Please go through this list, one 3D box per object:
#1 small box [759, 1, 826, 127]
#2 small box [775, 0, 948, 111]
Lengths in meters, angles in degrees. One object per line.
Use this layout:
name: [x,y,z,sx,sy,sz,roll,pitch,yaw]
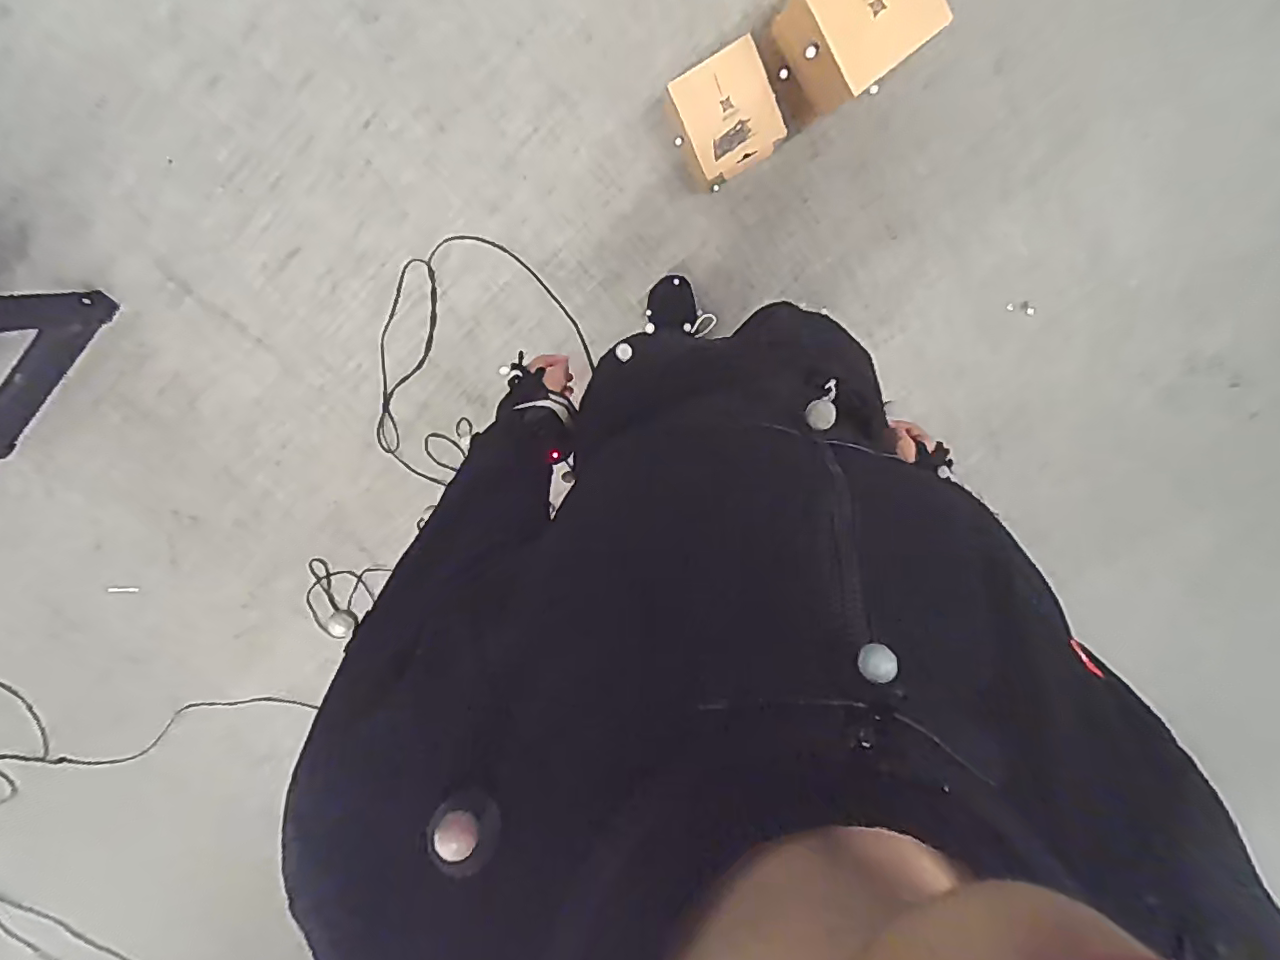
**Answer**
small box: [0.343,-0.805,1.006,0.168,0.176,0.179,-35,107,13]
small box: [0.341,-0.728,0.861,0.168,0.176,0.179,-34,107,13]
